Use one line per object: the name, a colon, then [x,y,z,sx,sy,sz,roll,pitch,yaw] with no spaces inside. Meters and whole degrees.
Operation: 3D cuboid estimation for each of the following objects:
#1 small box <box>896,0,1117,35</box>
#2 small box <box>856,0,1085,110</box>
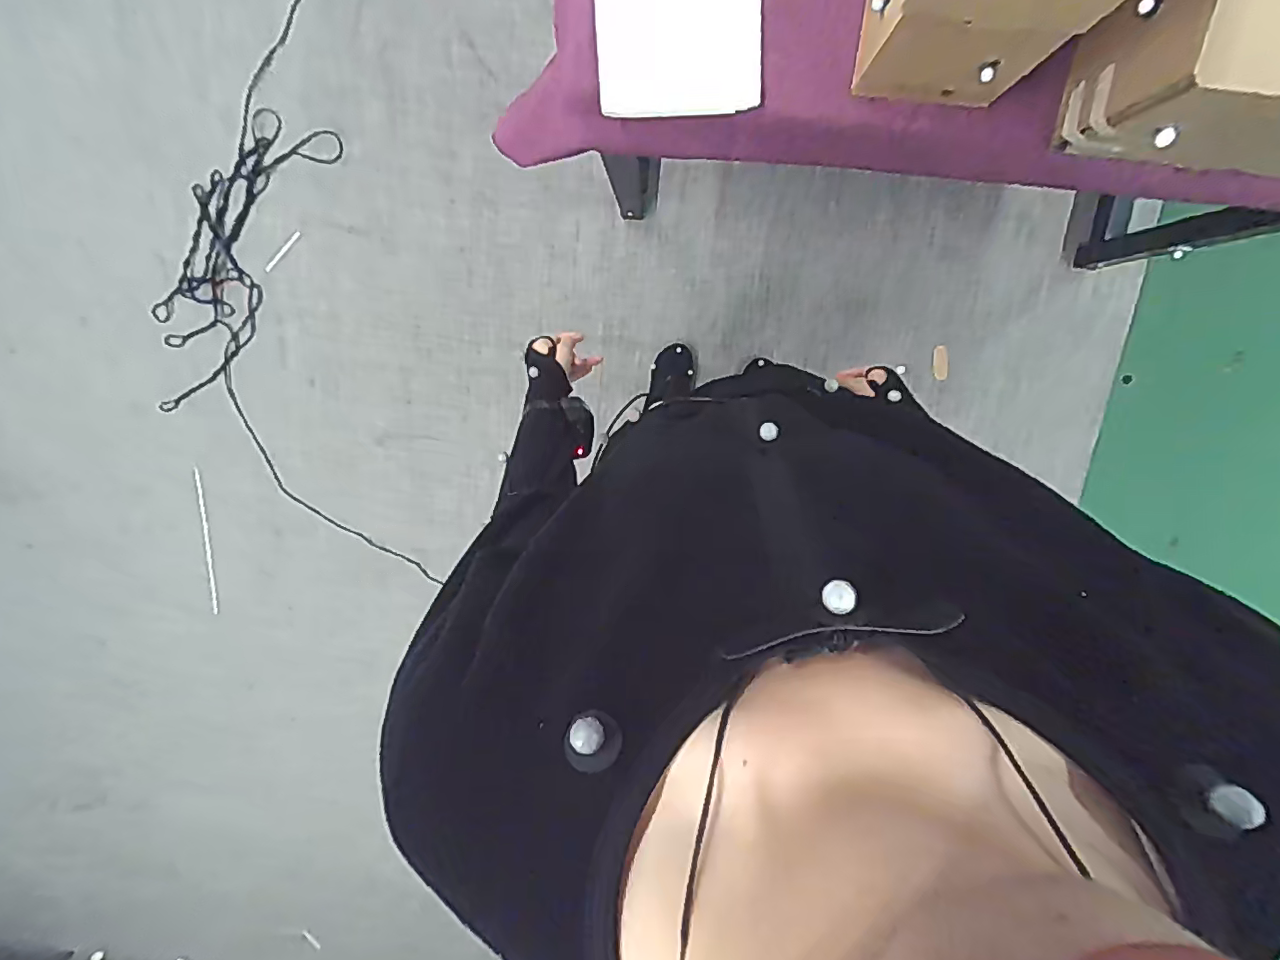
small box: [0.326,-0.477,0.403,0.179,0.176,0.168,8,101,2]
small box: [0.342,-0.520,0.561,0.168,0.176,0.179,7,101,1]
